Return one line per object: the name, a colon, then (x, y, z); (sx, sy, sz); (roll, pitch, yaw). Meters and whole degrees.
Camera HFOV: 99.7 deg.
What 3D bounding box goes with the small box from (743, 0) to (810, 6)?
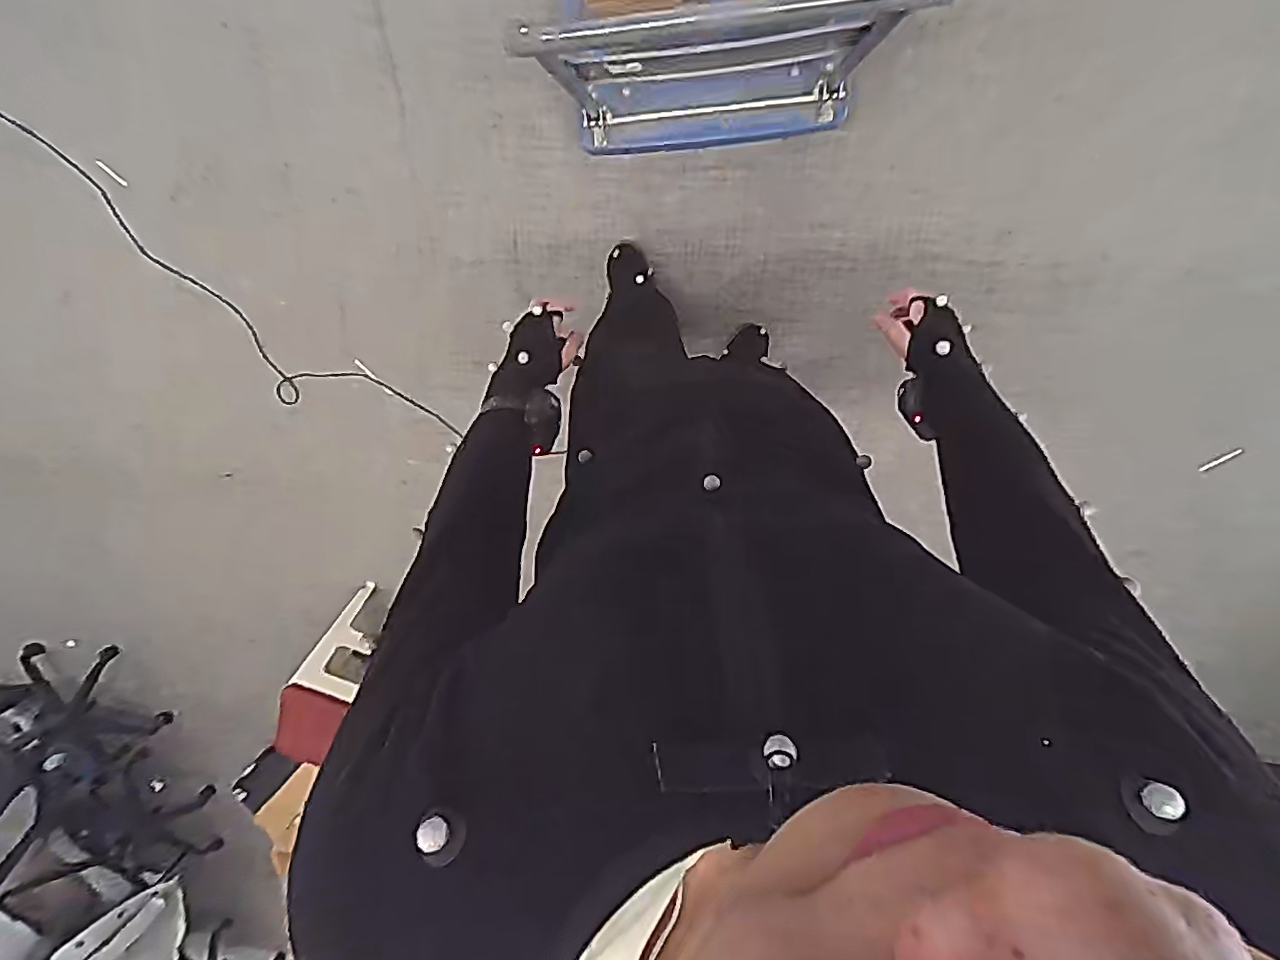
small box: (0.264, -0.992, 0.960); (0.168, 0.176, 0.179); (0, 113, 7)
